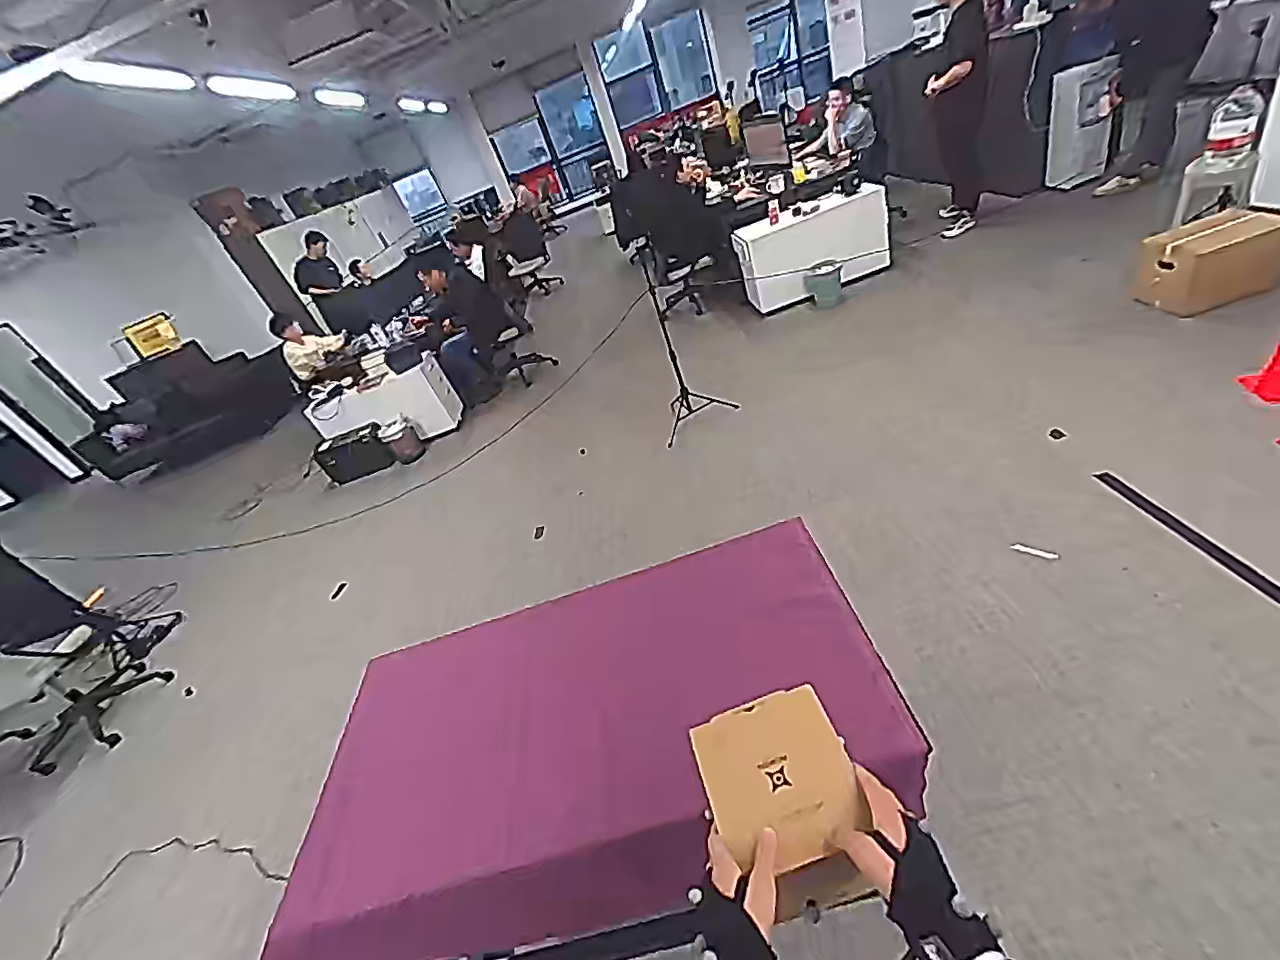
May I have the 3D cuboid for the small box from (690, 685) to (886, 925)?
[{"bbox_3d":[0.177,0.392,0.659,0.168,0.176,0.179,-22,36,1],"label":"small box"}]
